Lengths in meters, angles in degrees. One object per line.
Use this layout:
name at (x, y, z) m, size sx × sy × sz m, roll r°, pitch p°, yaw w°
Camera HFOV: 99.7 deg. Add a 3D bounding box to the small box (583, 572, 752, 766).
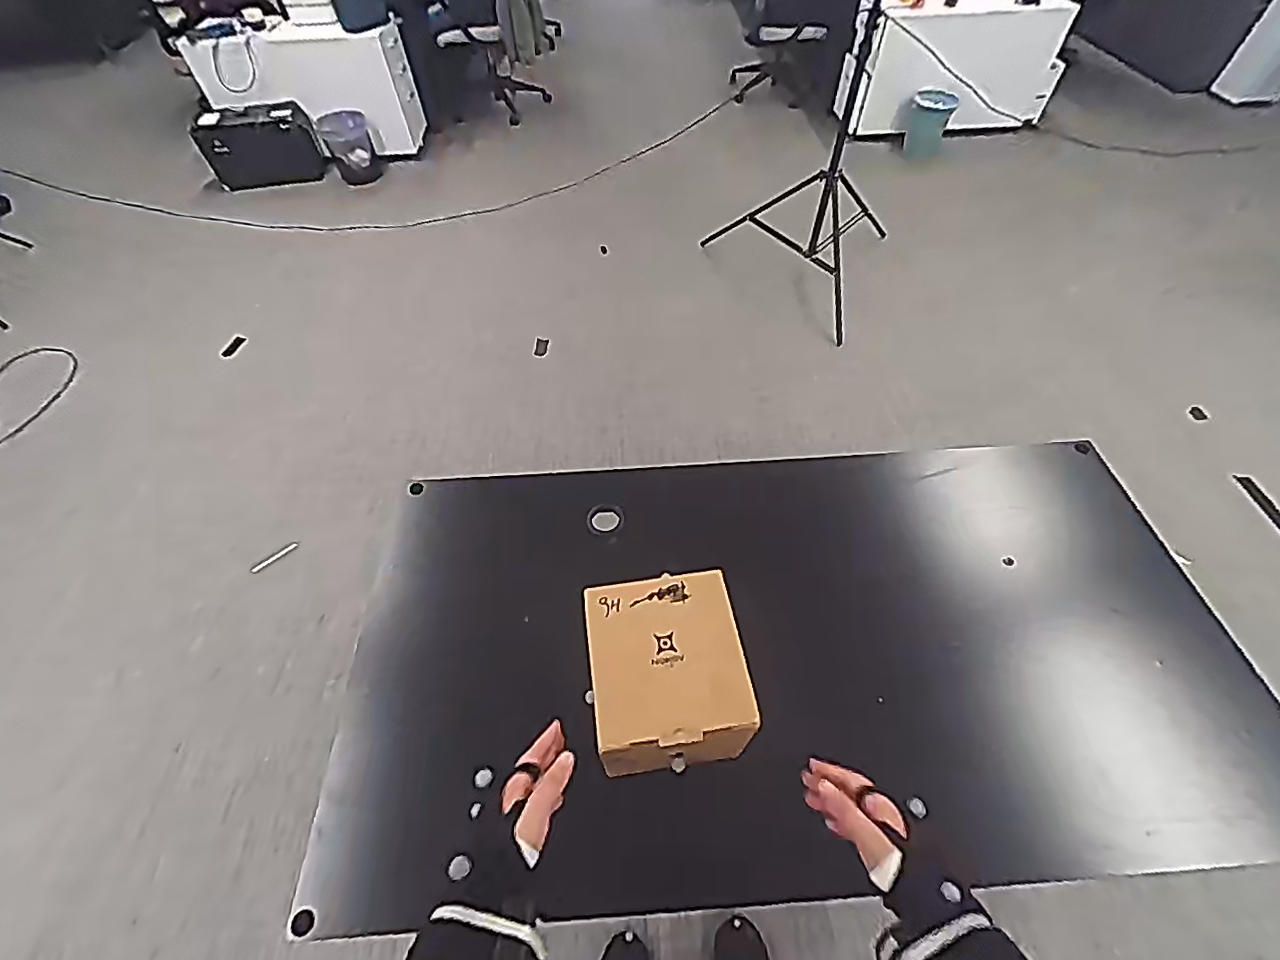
small box at (0.027, 0.235, 0.654) m, size 0.168 × 0.176 × 0.179 m, roll -8°, pitch 54°, yaw -4°
